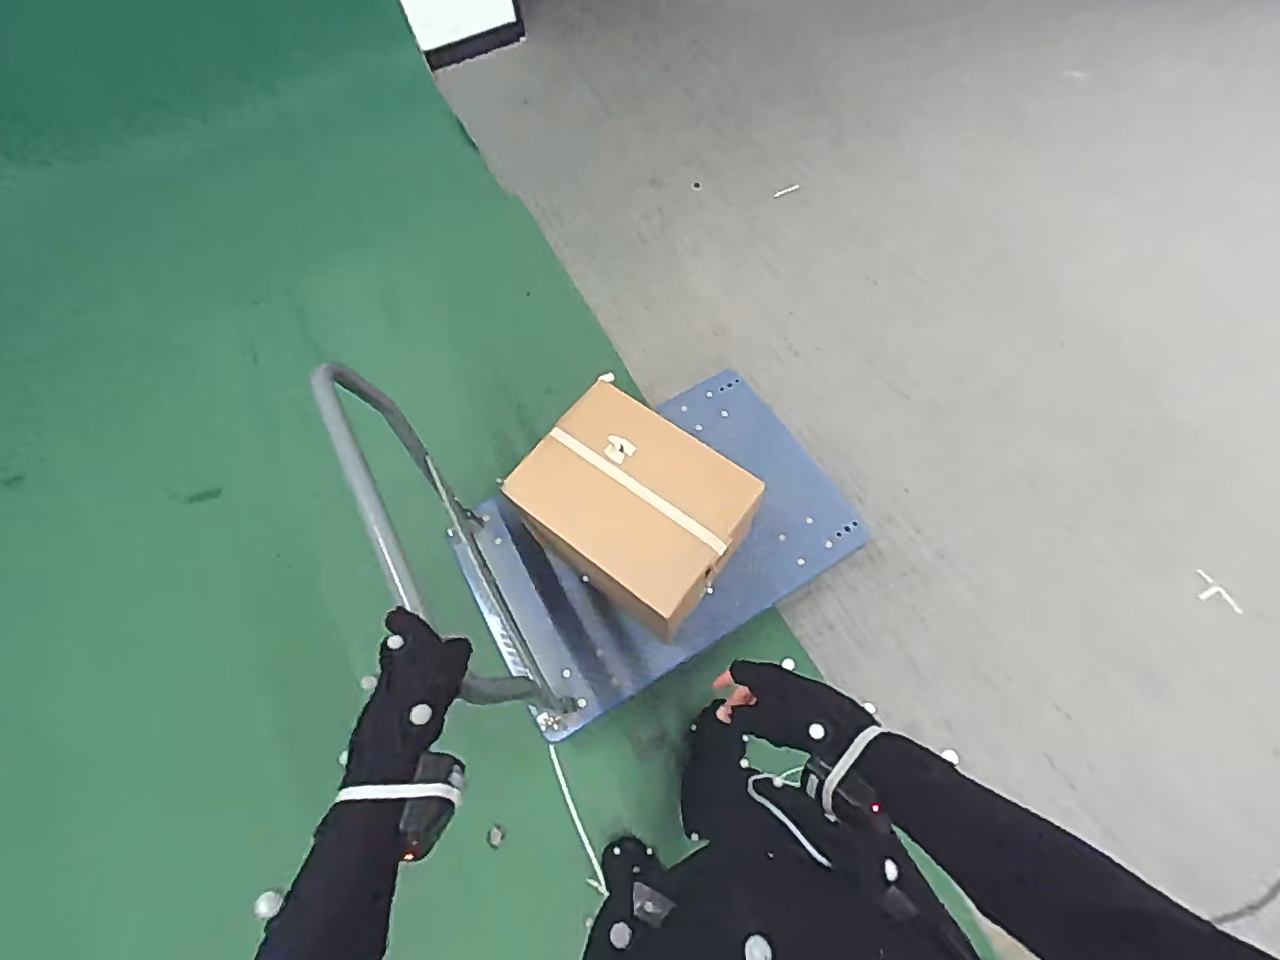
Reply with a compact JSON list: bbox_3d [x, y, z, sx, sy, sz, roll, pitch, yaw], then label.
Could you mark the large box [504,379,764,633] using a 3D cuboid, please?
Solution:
[{"bbox_3d":[-0.003,0.067,1.154,0.408,0.320,0.320,35,72,18],"label":"large box"}]
